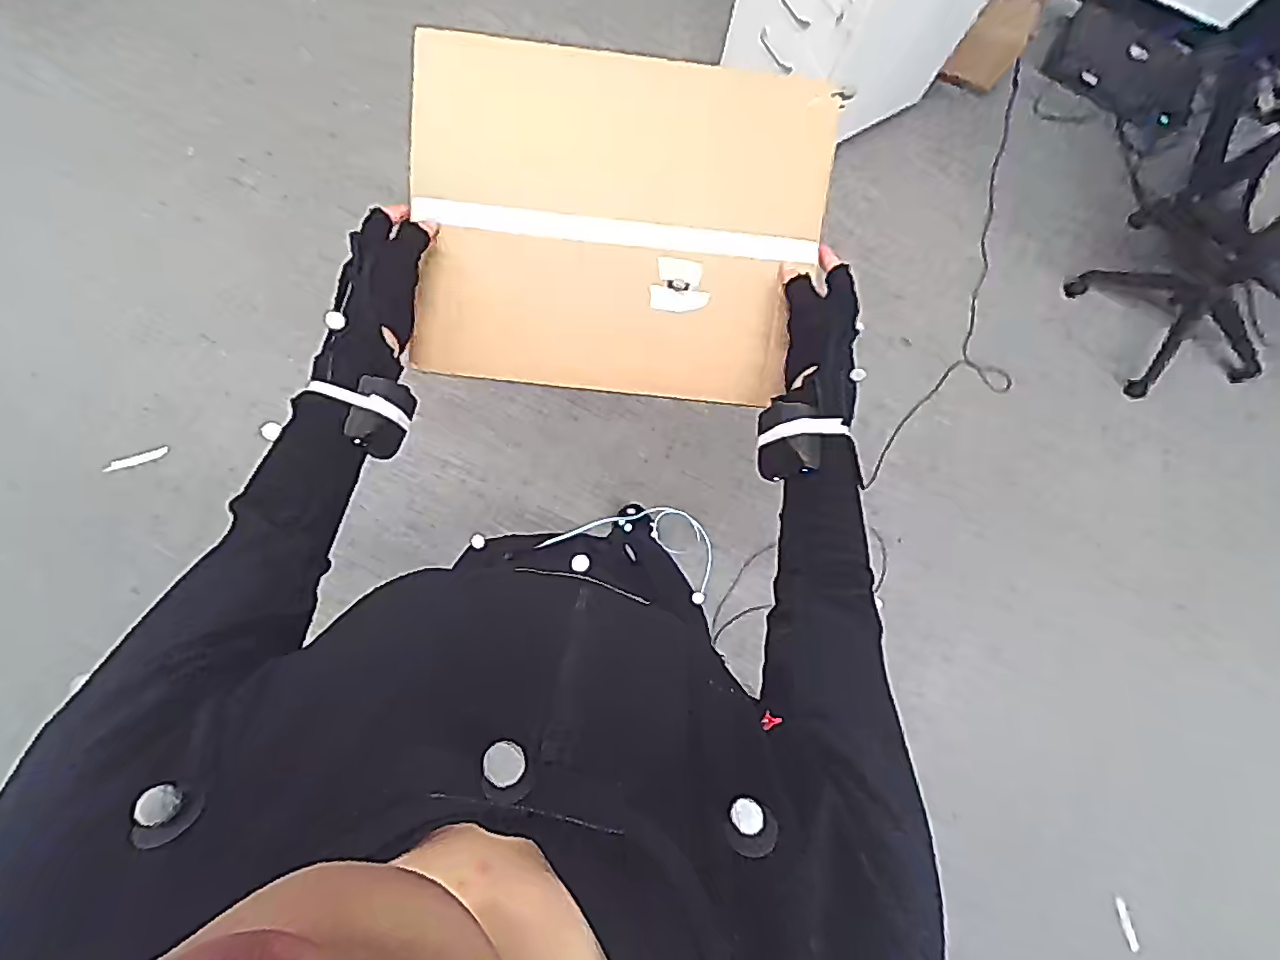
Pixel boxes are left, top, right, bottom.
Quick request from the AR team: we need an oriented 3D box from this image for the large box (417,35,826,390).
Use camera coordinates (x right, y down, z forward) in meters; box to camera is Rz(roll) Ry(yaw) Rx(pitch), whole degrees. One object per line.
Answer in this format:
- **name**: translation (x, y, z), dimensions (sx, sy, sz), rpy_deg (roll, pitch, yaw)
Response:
- **large box**: translation (-0.032, -0.286, 0.693), dimensions (0.408, 0.320, 0.320), rpy_deg (5, 101, -3)
